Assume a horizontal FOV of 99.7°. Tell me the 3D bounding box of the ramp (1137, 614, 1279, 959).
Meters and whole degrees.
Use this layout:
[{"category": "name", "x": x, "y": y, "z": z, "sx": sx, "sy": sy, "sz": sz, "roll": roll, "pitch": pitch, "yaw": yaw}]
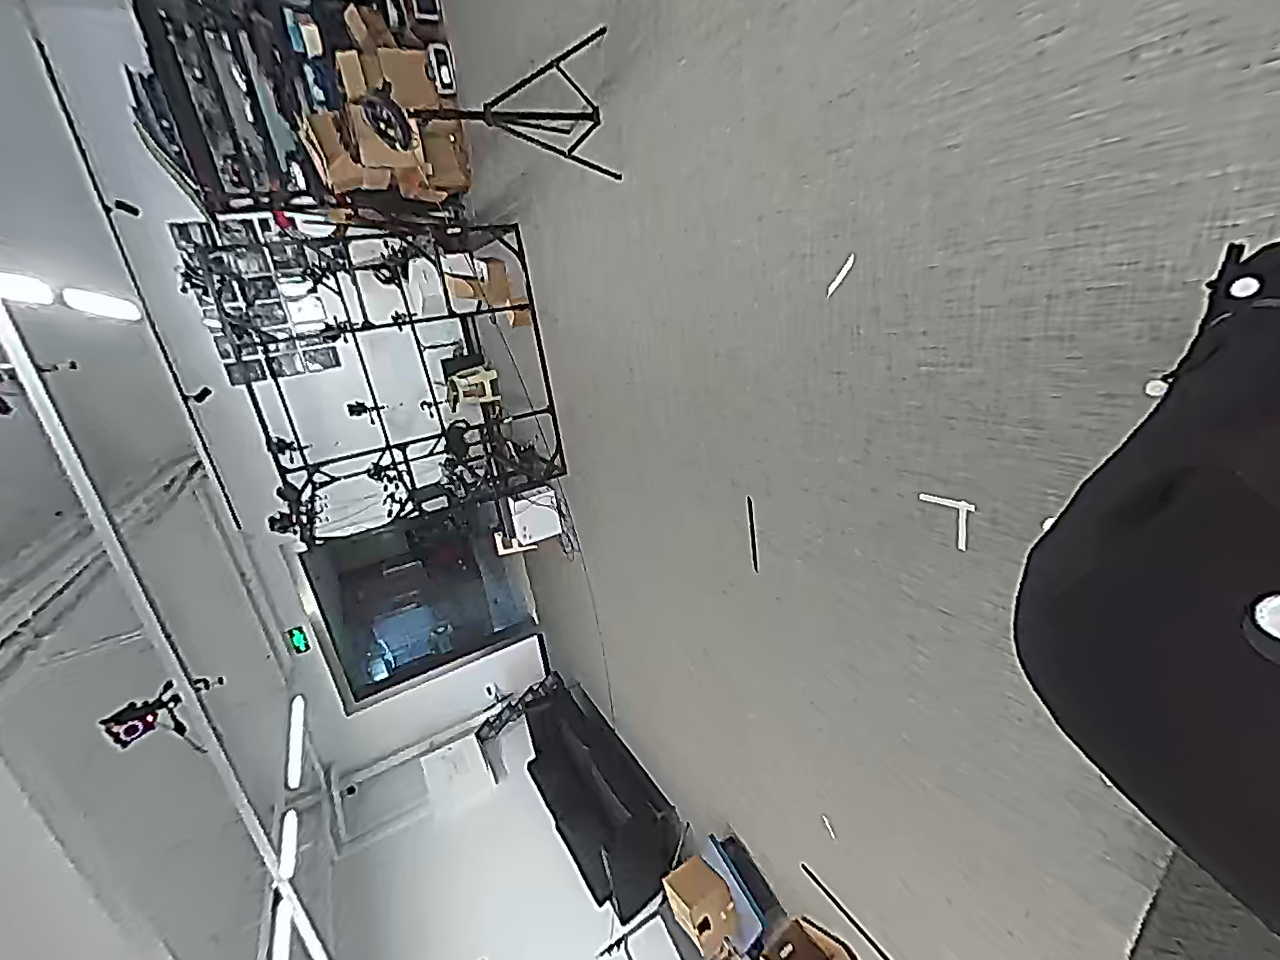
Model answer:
[{"category": "ramp", "x": 1.385, "y": 0.786, "z": 1.018, "sx": 0.509, "sy": 0.206, "sz": 0.991, "roll": 27, "pitch": 129, "yaw": 58}]
